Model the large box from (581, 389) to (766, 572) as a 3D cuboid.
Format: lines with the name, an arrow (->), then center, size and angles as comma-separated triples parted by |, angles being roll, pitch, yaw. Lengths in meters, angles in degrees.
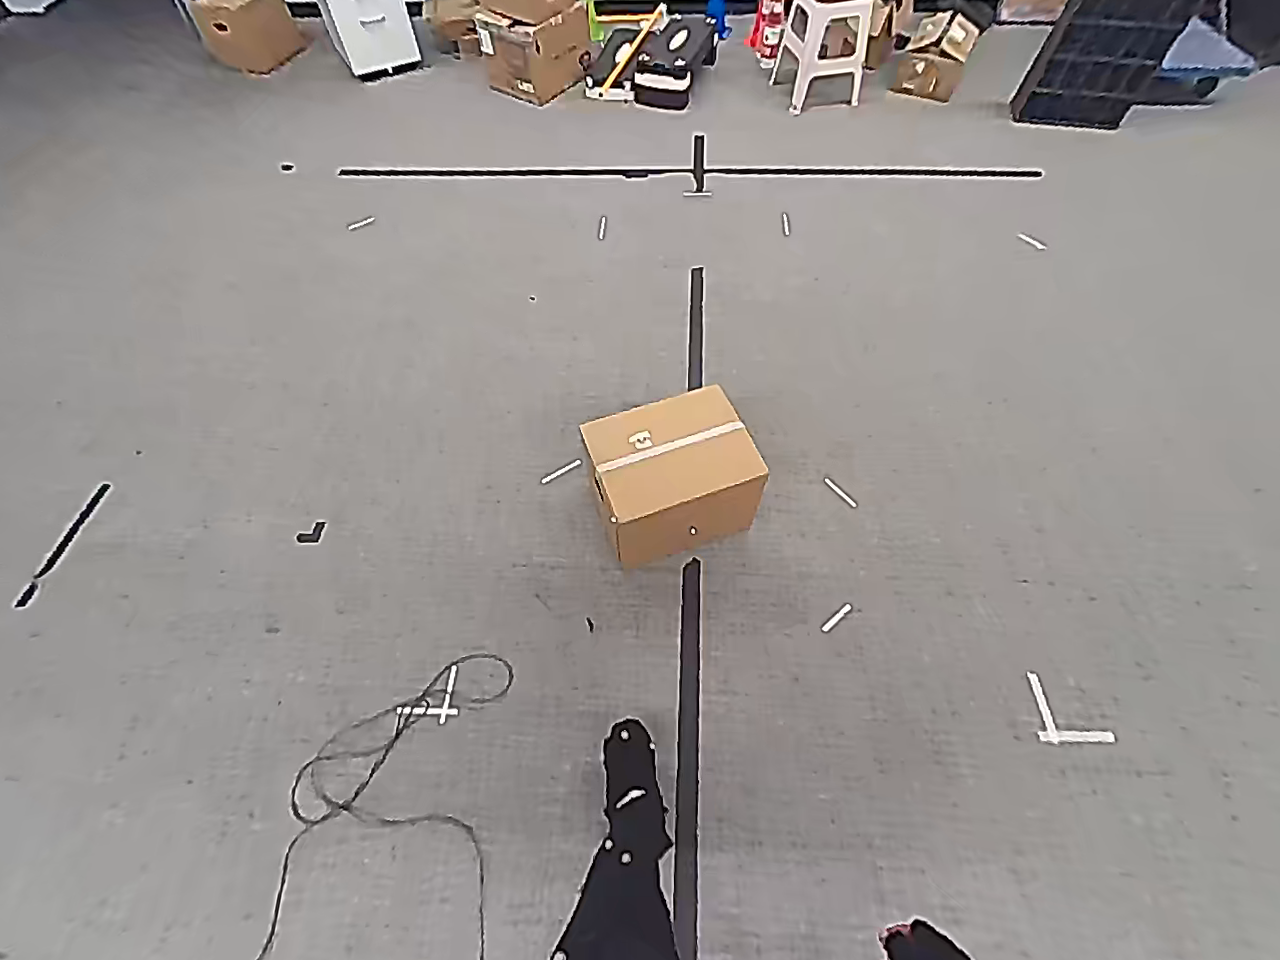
large box -> 0.084, 0.007, 1.514 | 0.408, 0.320, 0.320 | -19, 60, -9
